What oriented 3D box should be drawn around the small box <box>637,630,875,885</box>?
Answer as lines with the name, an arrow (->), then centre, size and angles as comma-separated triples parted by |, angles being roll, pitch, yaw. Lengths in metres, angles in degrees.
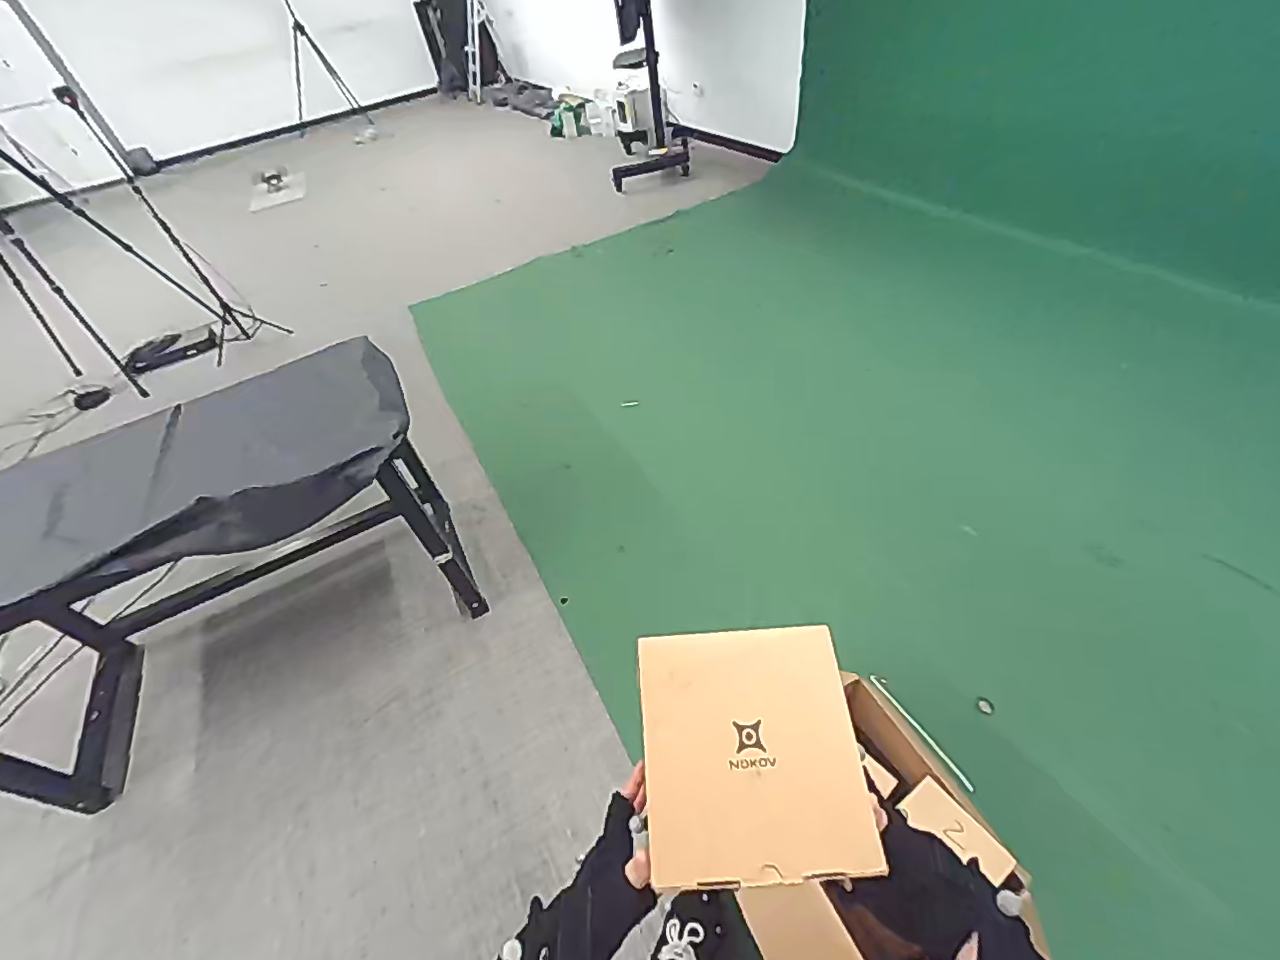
small box -> 0.082, 0.250, 0.493 | 0.168, 0.176, 0.179 | -3, 59, -1
